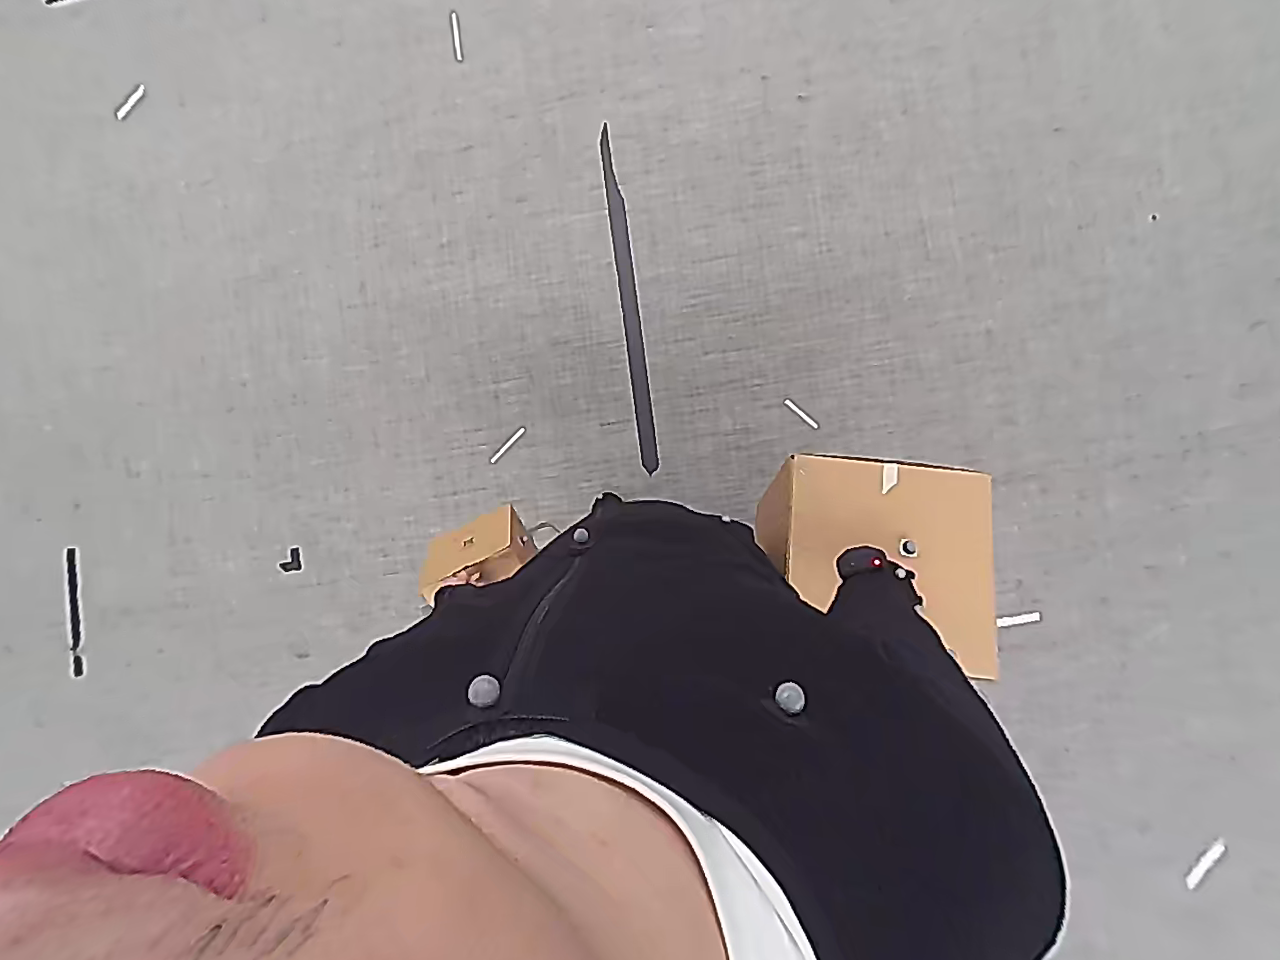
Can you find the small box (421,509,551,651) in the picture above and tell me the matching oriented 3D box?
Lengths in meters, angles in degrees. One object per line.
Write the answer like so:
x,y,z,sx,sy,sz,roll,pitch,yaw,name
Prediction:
-0.273,0.186,0.993,0.168,0.179,0.176,-25,114,-3,small box
